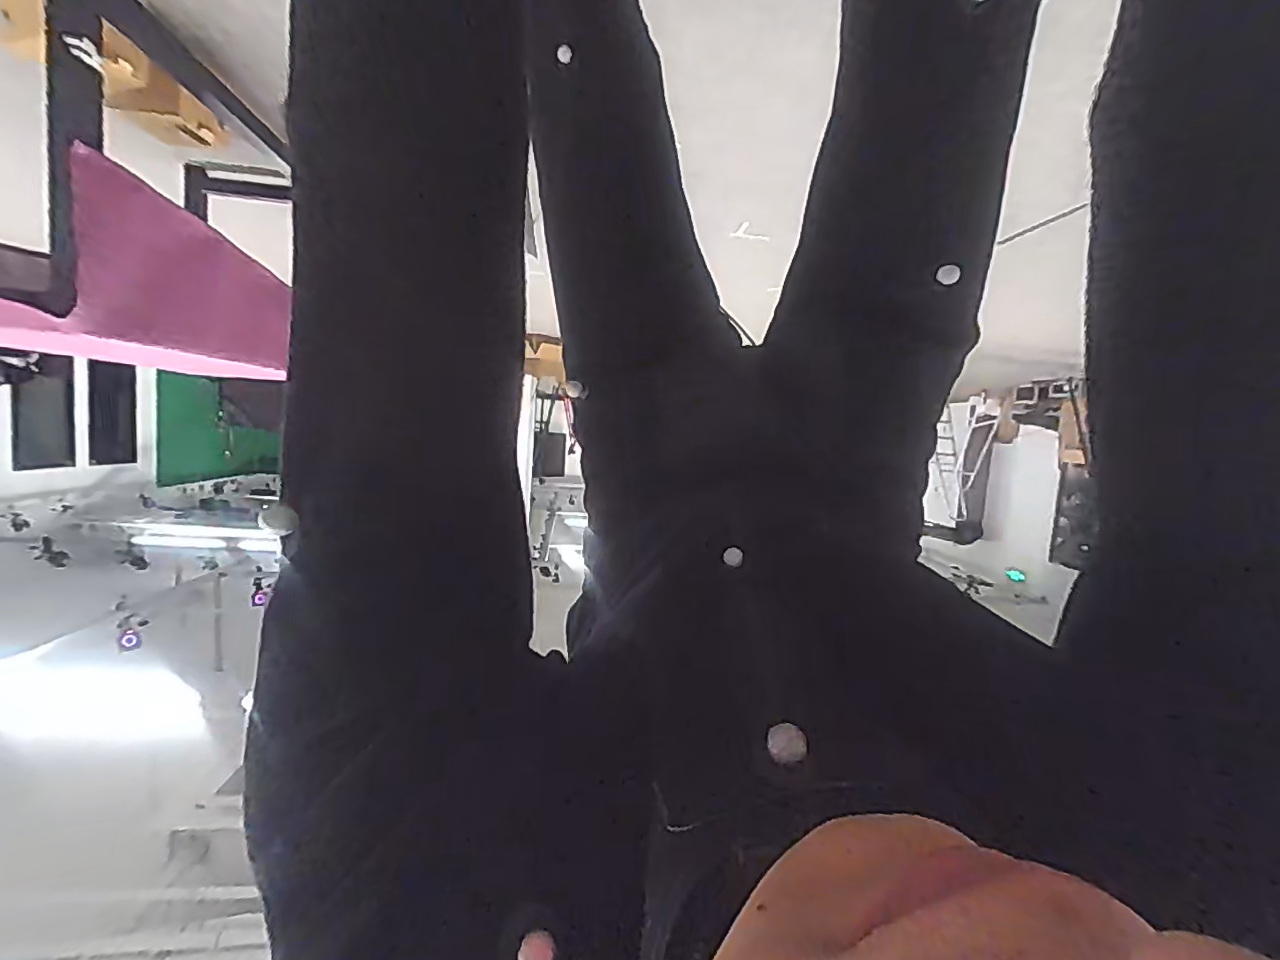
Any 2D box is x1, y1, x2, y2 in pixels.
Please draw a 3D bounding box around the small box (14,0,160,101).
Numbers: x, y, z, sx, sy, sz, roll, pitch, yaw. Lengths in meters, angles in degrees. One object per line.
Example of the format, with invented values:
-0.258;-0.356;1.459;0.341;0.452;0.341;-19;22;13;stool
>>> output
-1.143;-0.937;1.125;0.179;0.176;0.168;7;-174;22;small box
